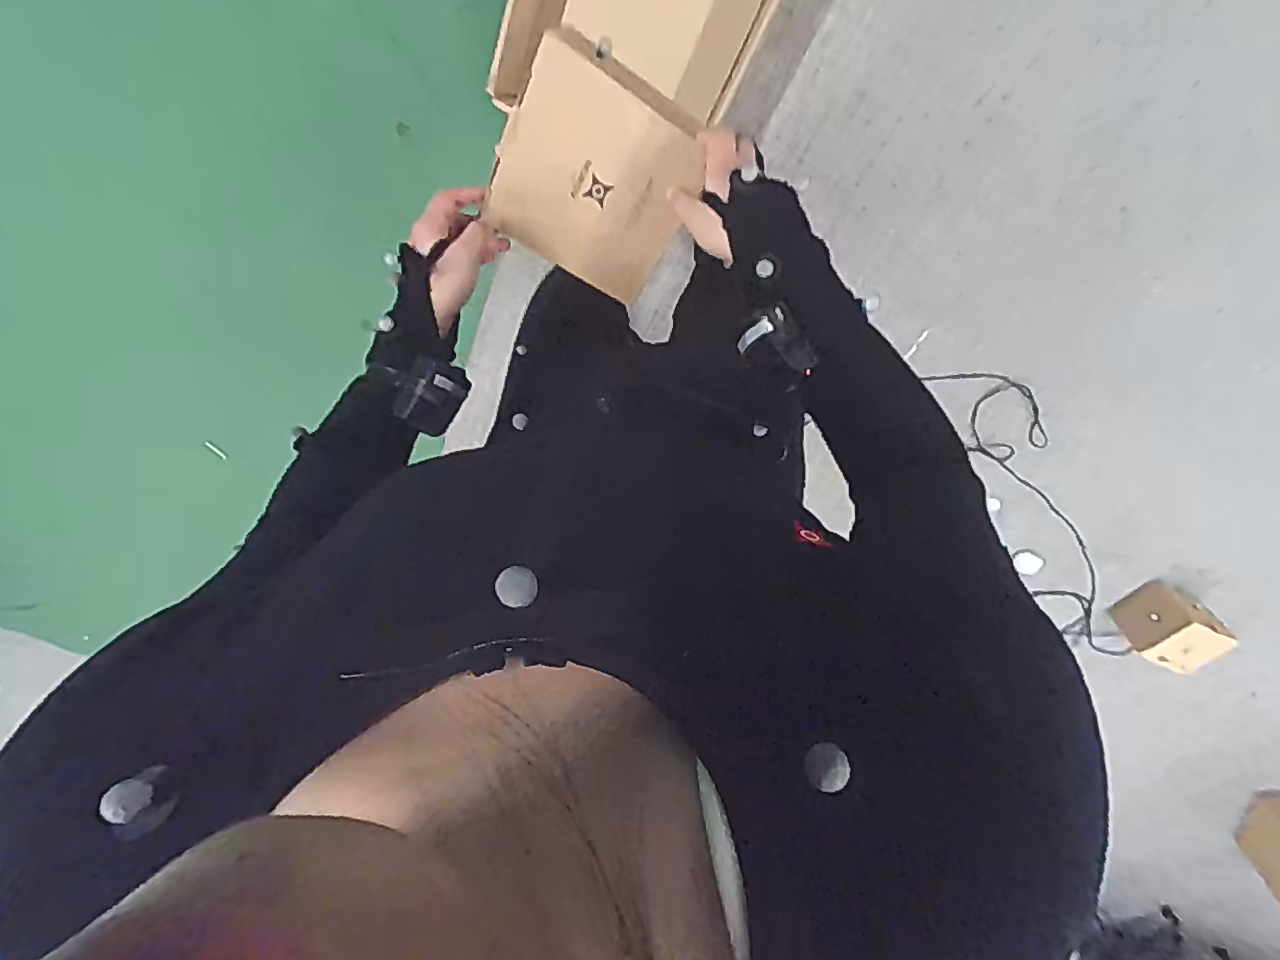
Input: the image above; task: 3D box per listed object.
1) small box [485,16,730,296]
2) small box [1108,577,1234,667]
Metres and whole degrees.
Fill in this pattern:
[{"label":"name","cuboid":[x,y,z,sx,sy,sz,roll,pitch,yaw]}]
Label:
[{"label":"small box","cuboid":[-0.034,-0.329,0.555,0.179,0.176,0.168,23,128,-20]},{"label":"small box","cuboid":[1.575,0.421,1.620,0.168,0.176,0.179,23,124,-8]}]
